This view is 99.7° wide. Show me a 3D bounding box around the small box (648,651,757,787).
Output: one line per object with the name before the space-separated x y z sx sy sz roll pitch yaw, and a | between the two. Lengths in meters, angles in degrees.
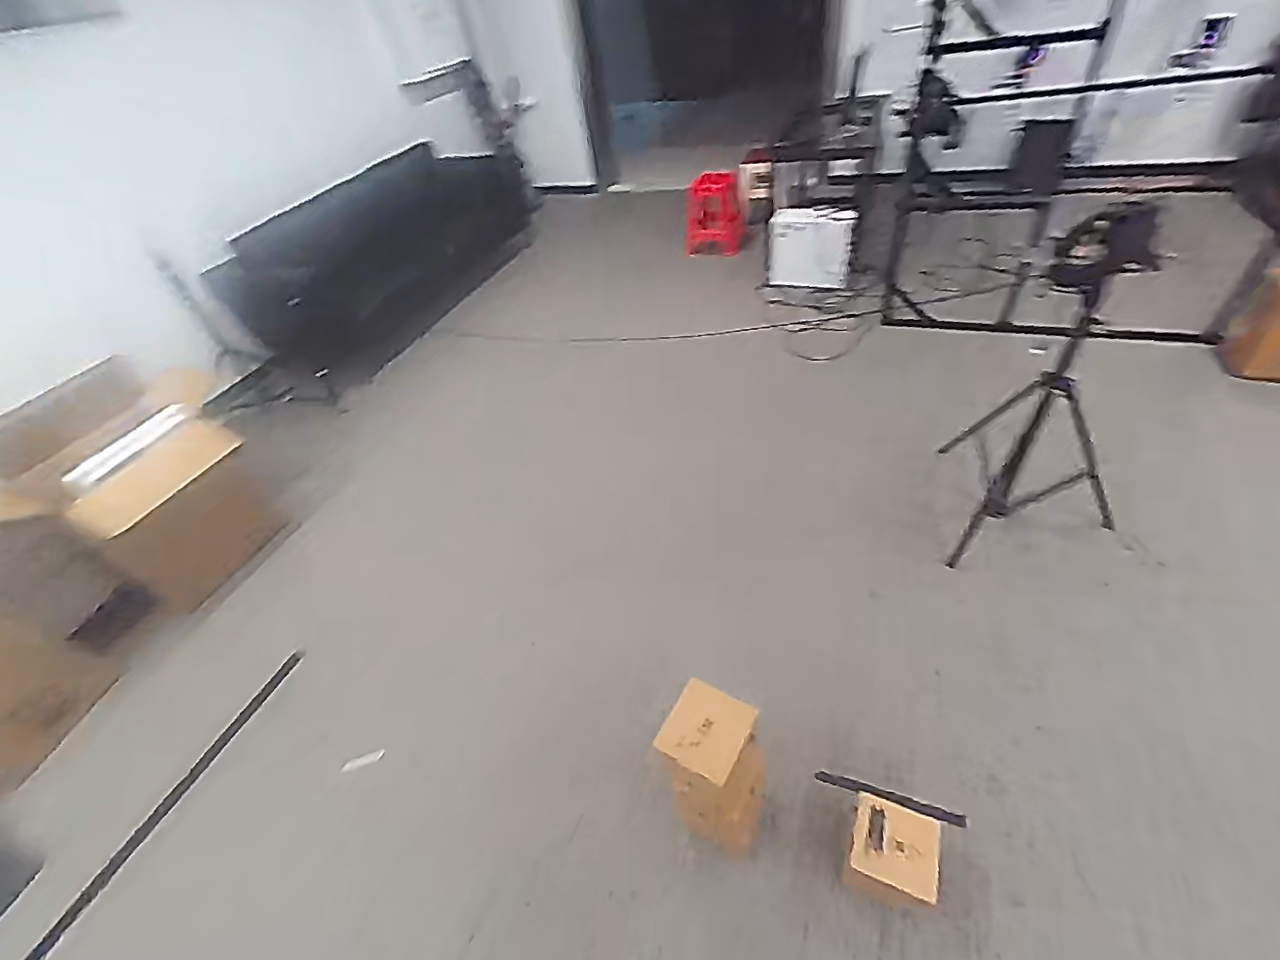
small box | 0.137 0.509 1.154 0.168 0.176 0.179 19 52 29

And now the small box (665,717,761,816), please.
small box | 0.173 0.635 1.255 0.168 0.176 0.179 14 50 26
